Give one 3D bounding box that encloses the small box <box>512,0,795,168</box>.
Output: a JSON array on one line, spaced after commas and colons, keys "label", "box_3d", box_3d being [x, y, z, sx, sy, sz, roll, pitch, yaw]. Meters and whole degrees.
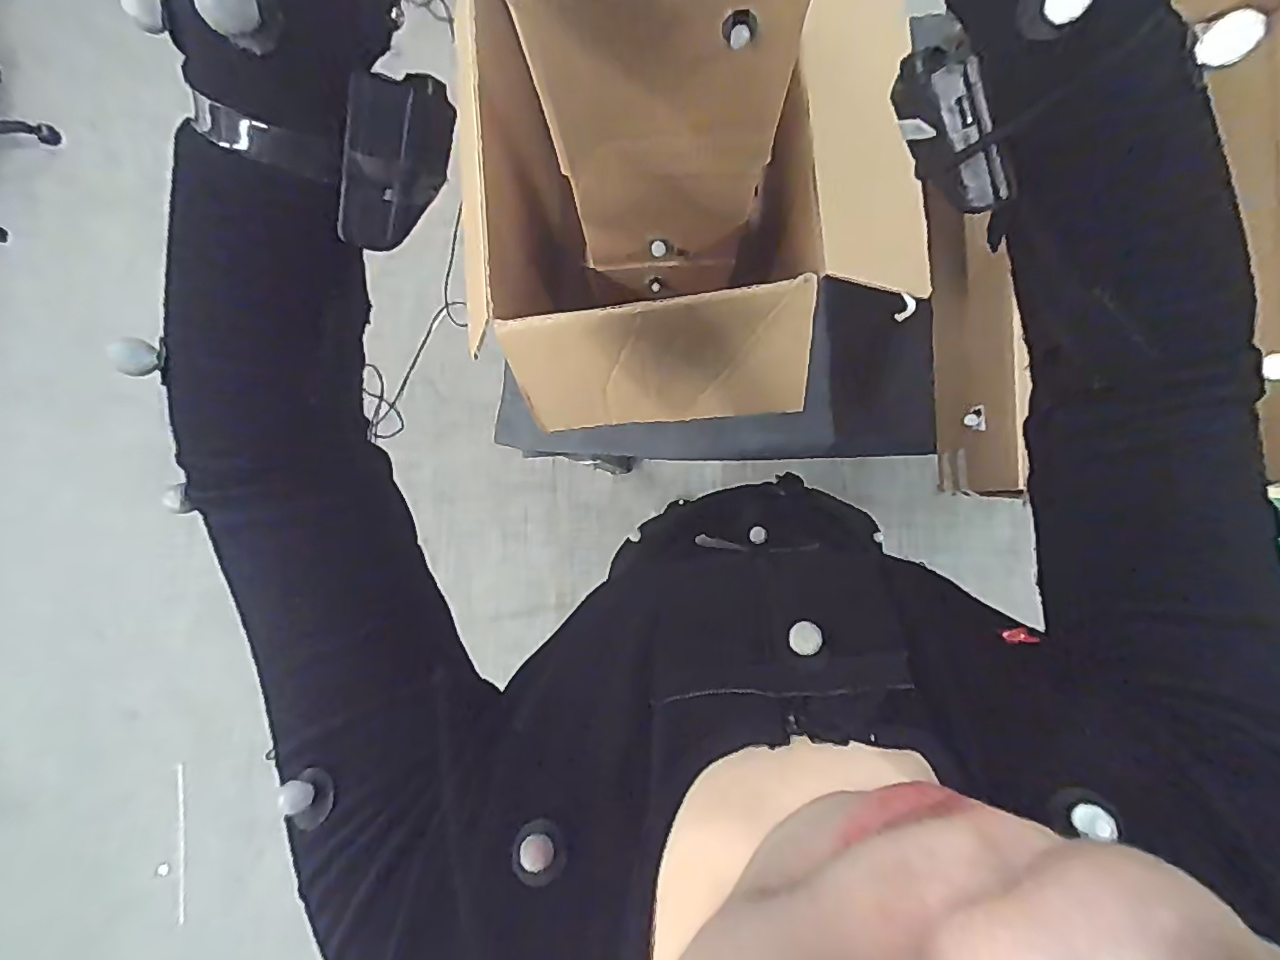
[{"label": "small box", "box_3d": [0.010, -0.349, 0.384, 0.179, 0.176, 0.168, -1, 87, 2]}]
